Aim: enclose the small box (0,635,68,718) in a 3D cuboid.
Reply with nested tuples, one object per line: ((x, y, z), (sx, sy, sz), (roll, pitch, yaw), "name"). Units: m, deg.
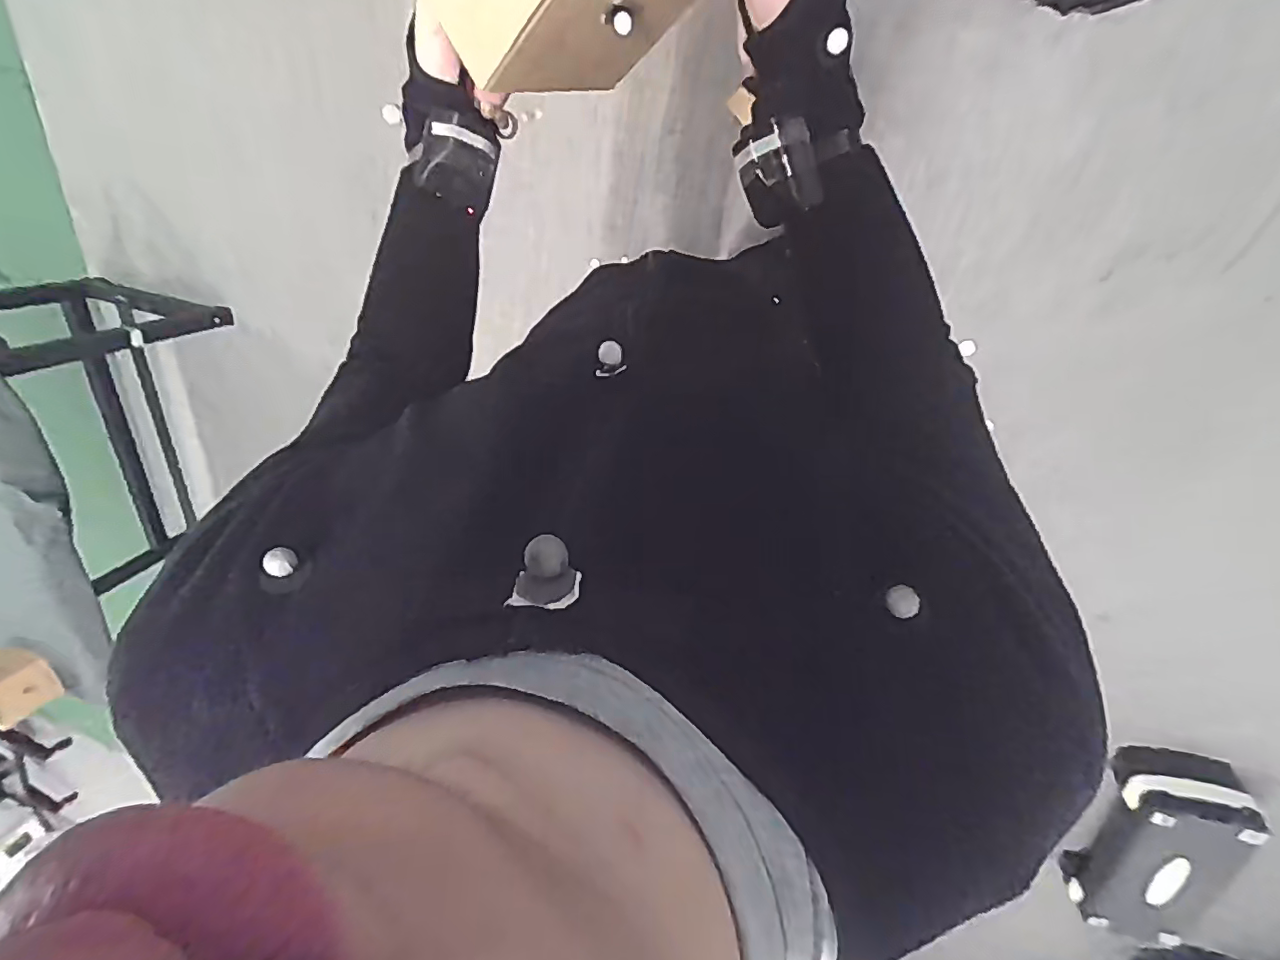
((-2.028, 0.629, 1.753), (0.179, 0.176, 0.168), (12, 119, 11), "small box")
